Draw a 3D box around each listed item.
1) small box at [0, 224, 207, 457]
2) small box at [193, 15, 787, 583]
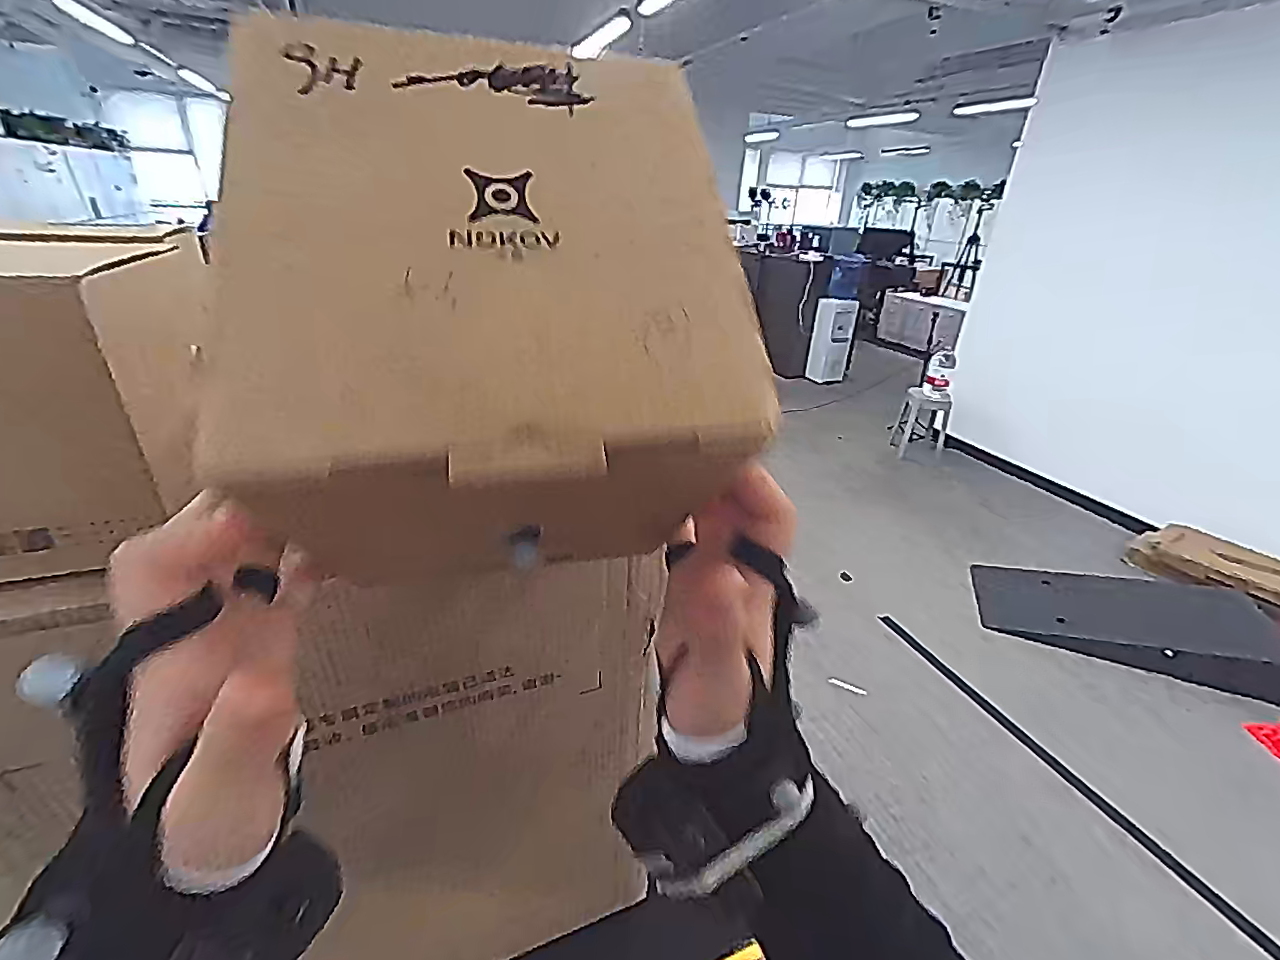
[{"bbox_3d":[-0.492,-0.133,0.491,0.168,0.176,0.179,-11,30,-27],"label":"small box"},{"bbox_3d":[-0.060,-0.051,0.248,0.168,0.179,0.176,-5,-16,-15],"label":"small box"}]
